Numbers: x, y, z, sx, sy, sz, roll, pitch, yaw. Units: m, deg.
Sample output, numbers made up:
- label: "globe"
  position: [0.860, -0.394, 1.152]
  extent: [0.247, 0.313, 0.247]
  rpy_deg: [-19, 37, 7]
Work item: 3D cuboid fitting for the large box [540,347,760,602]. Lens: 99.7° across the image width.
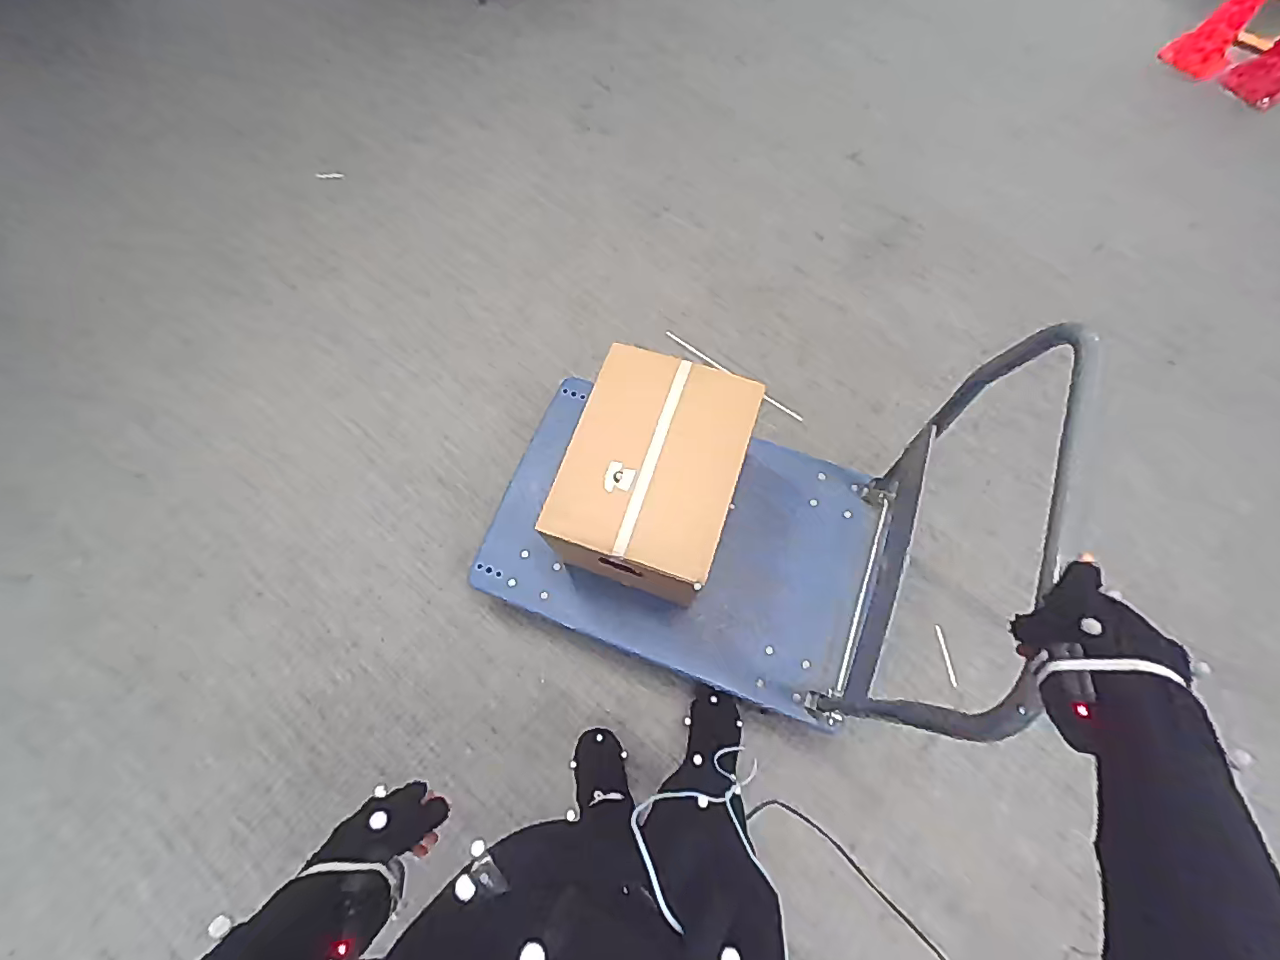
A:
- label: "large box"
  position: [0.031, 0.003, 1.131]
  extent: [0.320, 0.320, 0.408]
  rpy_deg: [17, 73, 8]
